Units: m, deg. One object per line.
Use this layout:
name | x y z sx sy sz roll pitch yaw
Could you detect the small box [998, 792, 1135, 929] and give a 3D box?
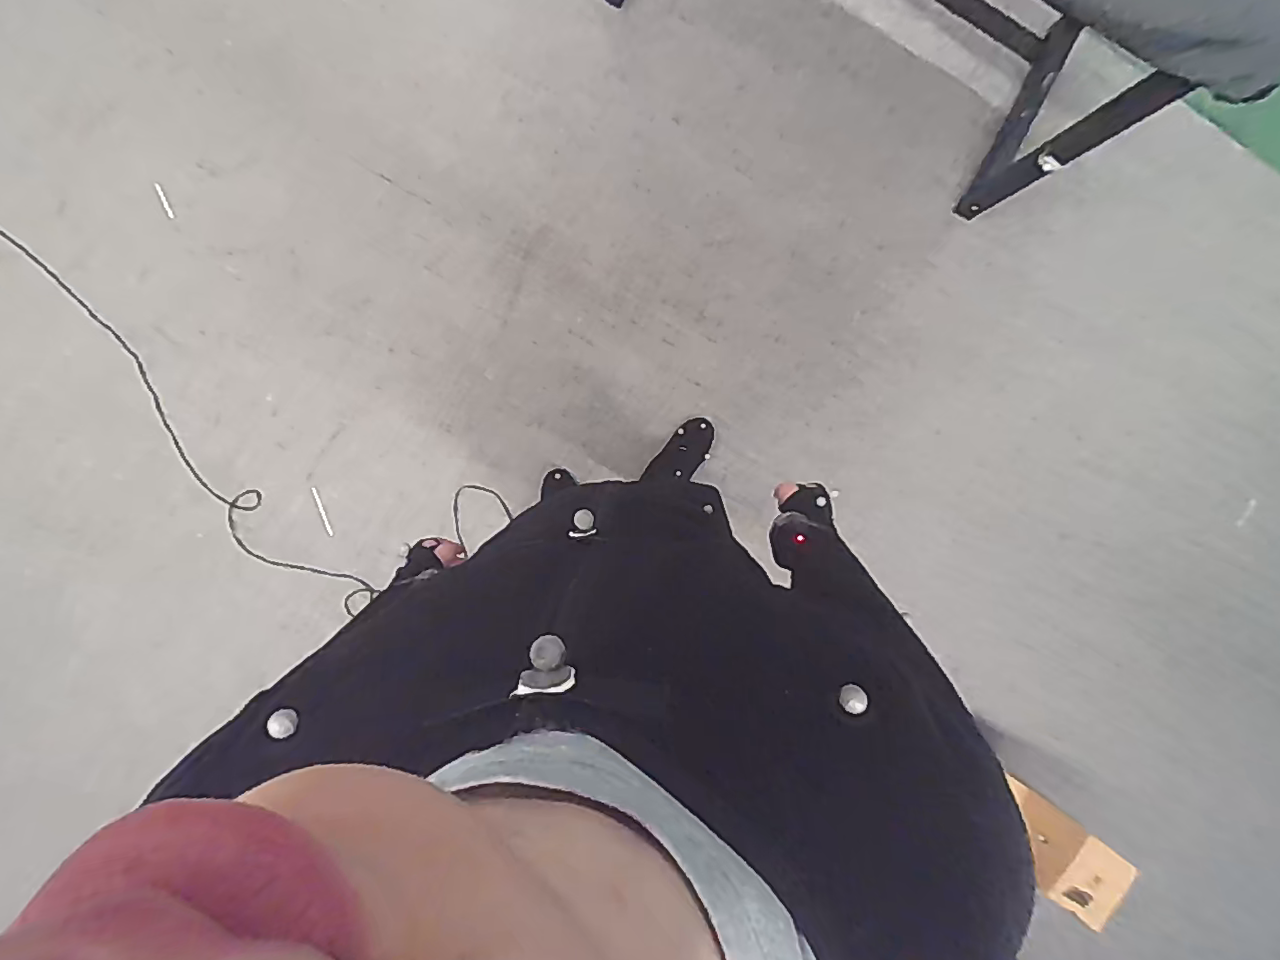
small box | 1.023 0.916 1.317 0.168 0.176 0.179 37 87 -7
